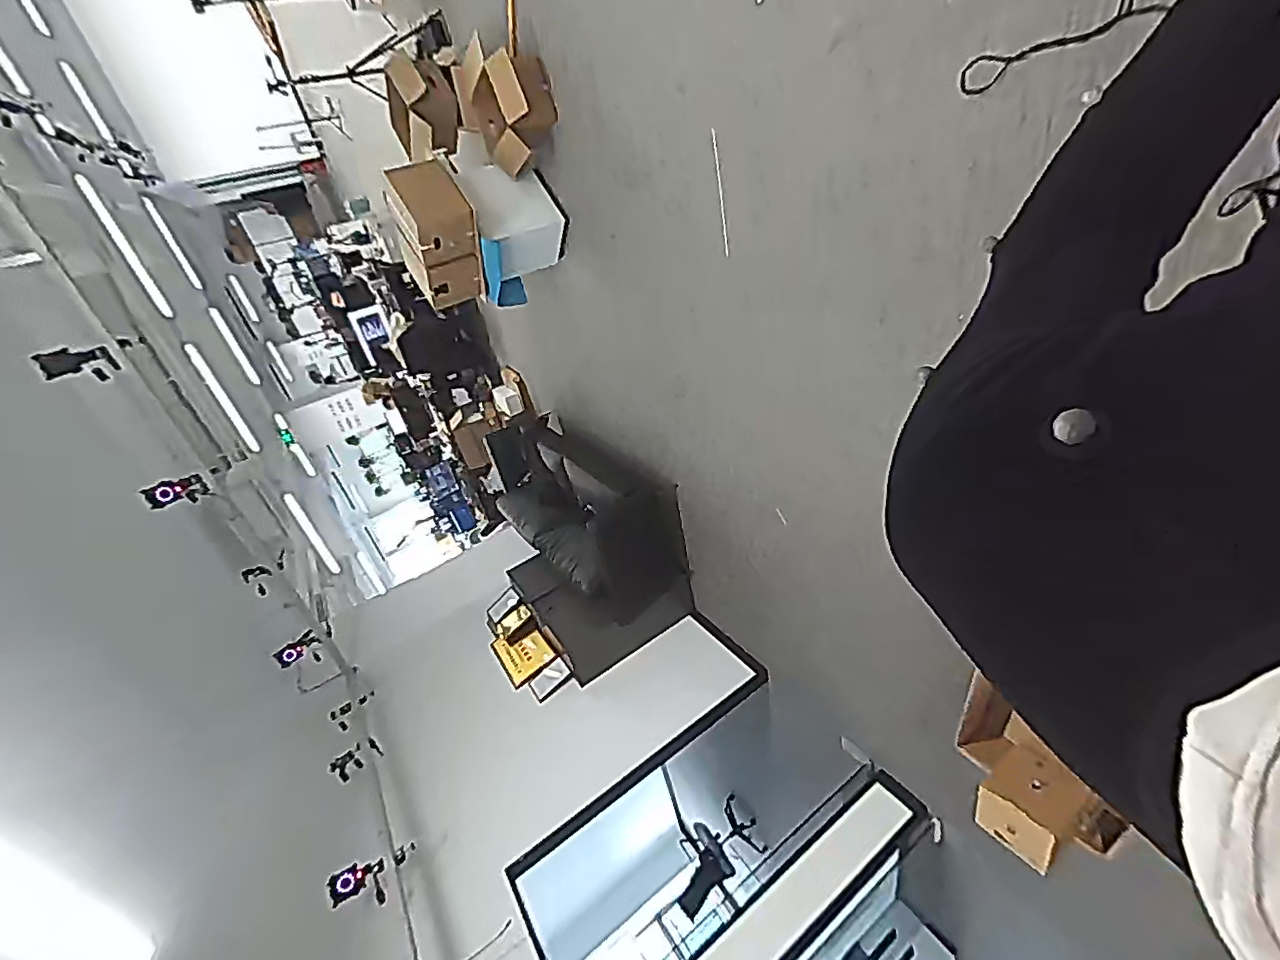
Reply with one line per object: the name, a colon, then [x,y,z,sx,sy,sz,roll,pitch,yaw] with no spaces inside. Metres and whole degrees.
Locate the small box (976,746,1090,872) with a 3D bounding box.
small box: [0.974,0.807,1.343,0.168,0.176,0.179,32,142,52]
